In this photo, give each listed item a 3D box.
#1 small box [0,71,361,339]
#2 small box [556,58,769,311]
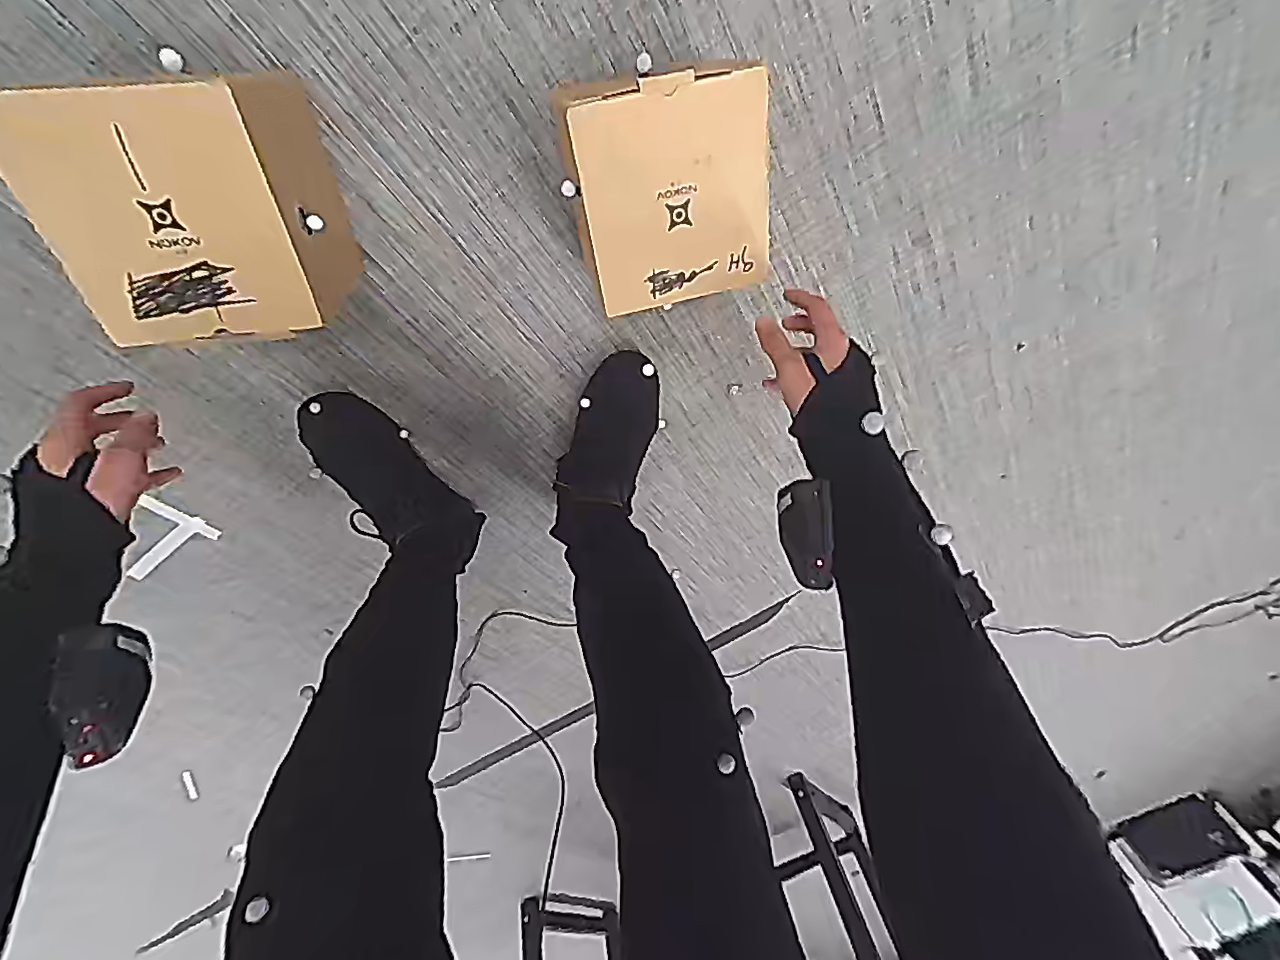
[{"bbox_3d":[-0.370,-0.246,0.475,0.168,0.176,0.179,-9,129,-8],"label":"small box"},{"bbox_3d":[0.018,-0.294,0.537,0.168,0.176,0.179,-14,129,-3],"label":"small box"}]
